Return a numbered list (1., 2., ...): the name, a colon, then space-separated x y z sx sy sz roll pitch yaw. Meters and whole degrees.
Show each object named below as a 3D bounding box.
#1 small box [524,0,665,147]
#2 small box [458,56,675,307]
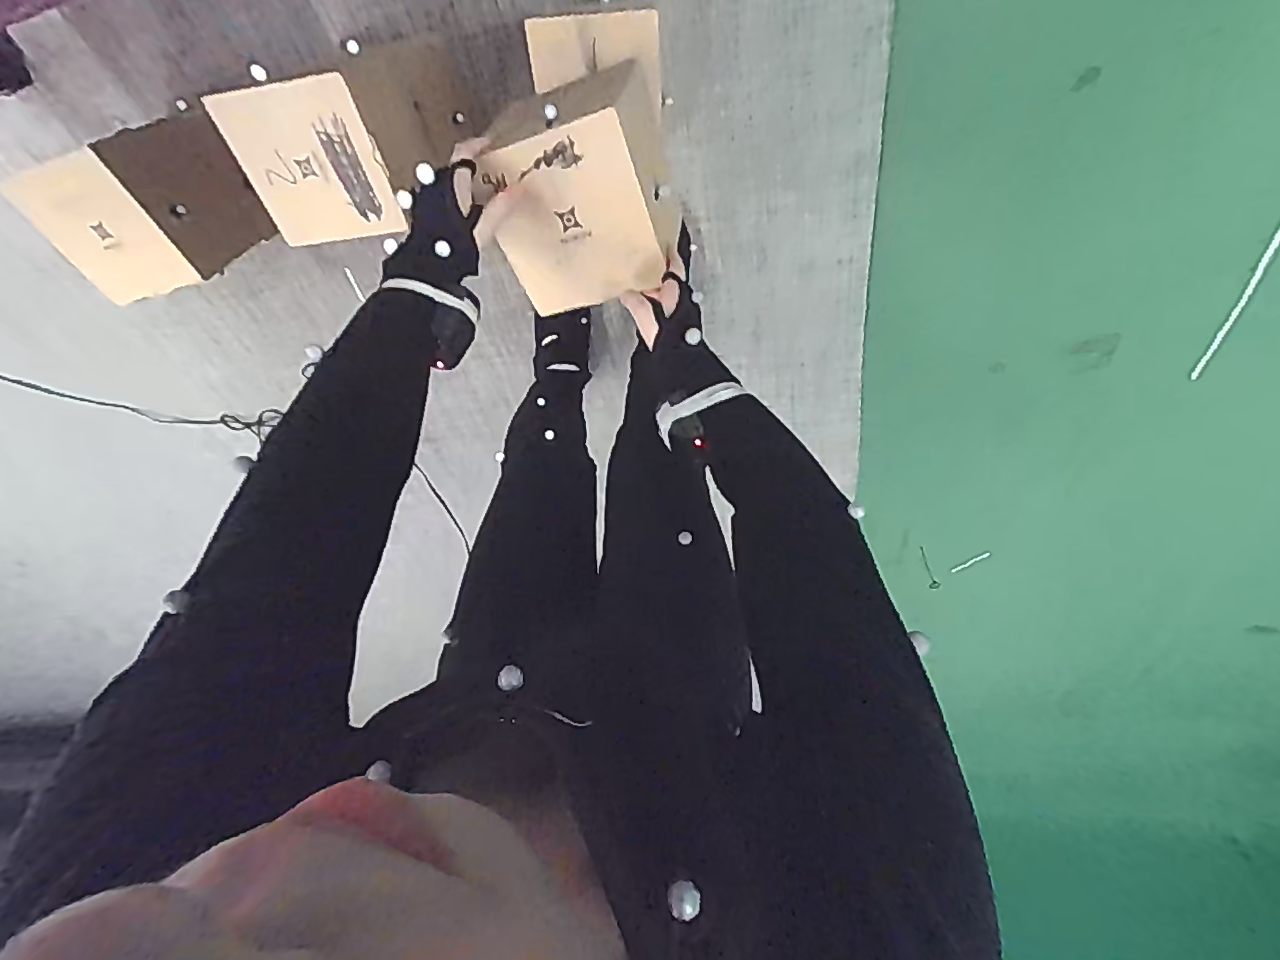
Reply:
1. small box: -0.051 -0.554 0.765 0.168 0.176 0.179 0 134 5
2. small box: -0.064 -0.329 0.607 0.168 0.176 0.179 -6 138 19
